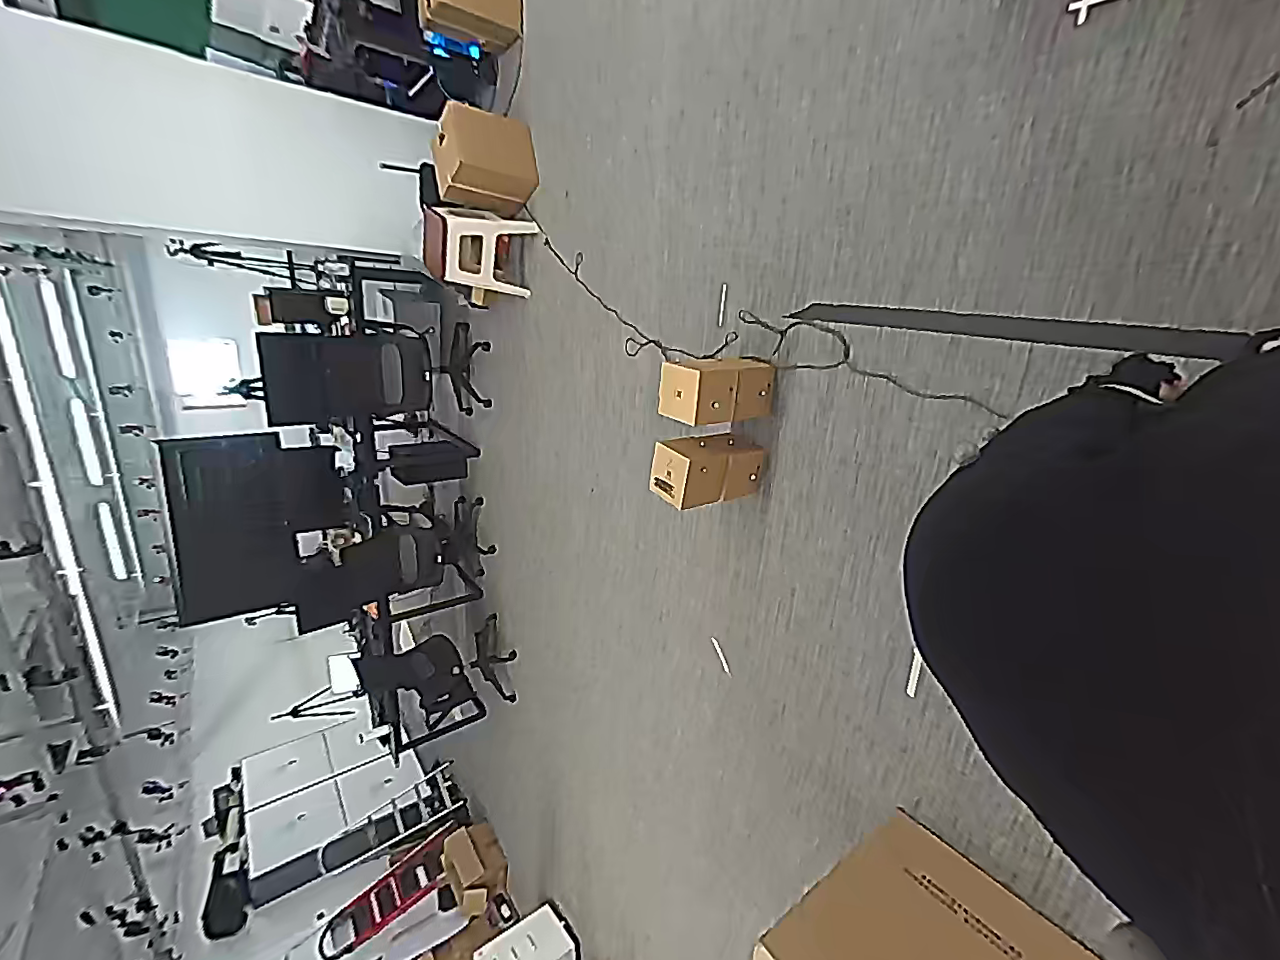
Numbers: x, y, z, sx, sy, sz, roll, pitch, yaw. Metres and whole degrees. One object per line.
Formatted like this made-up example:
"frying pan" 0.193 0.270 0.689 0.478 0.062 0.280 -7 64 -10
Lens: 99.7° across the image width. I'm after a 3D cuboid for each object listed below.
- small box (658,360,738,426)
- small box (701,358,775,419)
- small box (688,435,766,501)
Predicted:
"small box" 0.177 -0.272 1.648 0.179 0.176 0.168 28 121 48
"small box" 0.306 -0.300 1.742 0.179 0.176 0.168 27 121 47
"small box" 0.292 -0.049 1.824 0.179 0.176 0.168 33 124 43
